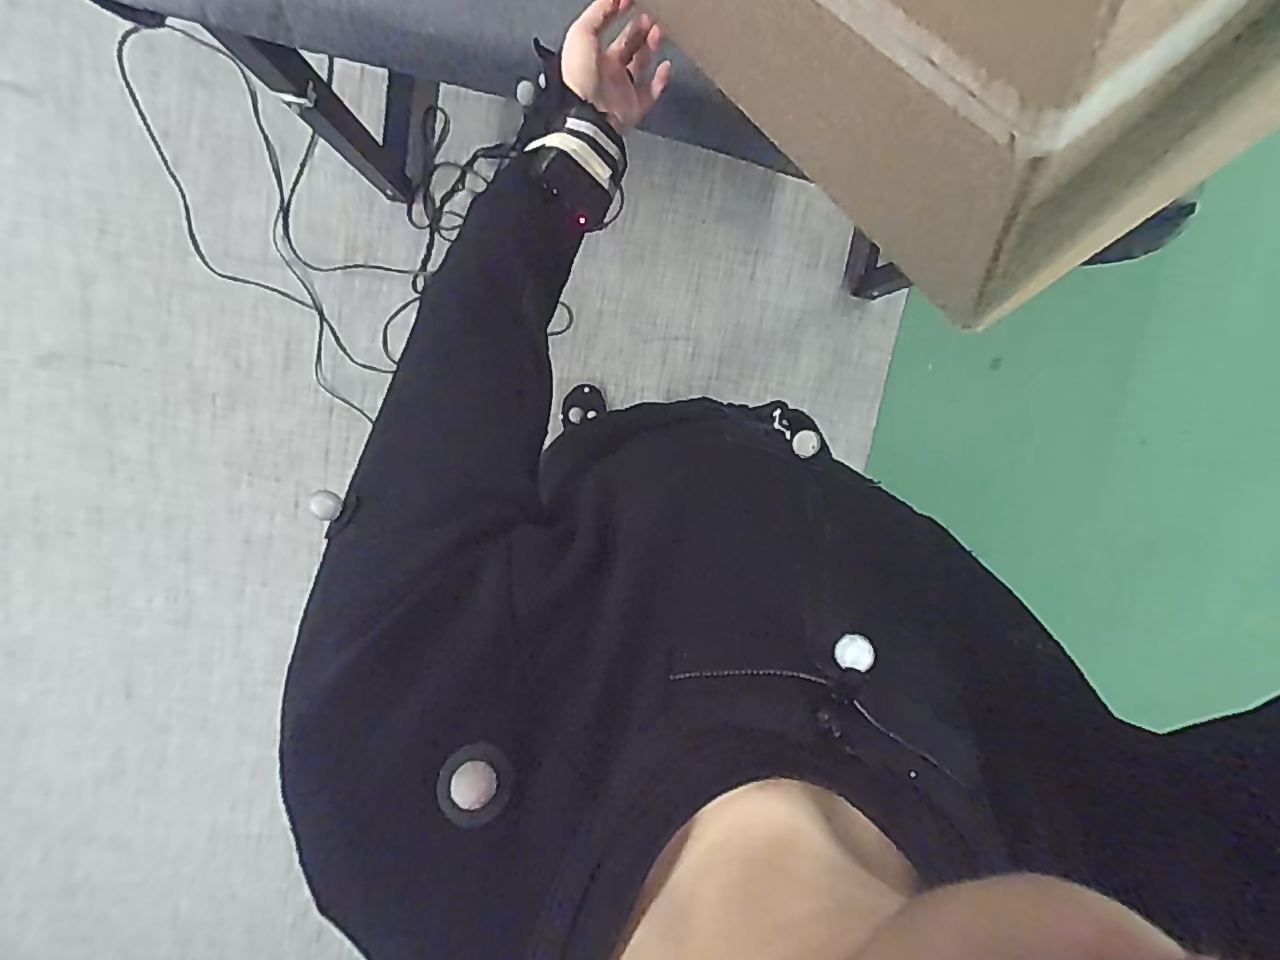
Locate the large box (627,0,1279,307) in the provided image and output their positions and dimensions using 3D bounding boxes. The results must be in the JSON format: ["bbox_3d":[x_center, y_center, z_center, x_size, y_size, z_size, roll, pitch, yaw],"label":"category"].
[{"bbox_3d":[0.142,-0.355,0.206,0.320,0.320,0.408,-39,69,13],"label":"large box"}]
